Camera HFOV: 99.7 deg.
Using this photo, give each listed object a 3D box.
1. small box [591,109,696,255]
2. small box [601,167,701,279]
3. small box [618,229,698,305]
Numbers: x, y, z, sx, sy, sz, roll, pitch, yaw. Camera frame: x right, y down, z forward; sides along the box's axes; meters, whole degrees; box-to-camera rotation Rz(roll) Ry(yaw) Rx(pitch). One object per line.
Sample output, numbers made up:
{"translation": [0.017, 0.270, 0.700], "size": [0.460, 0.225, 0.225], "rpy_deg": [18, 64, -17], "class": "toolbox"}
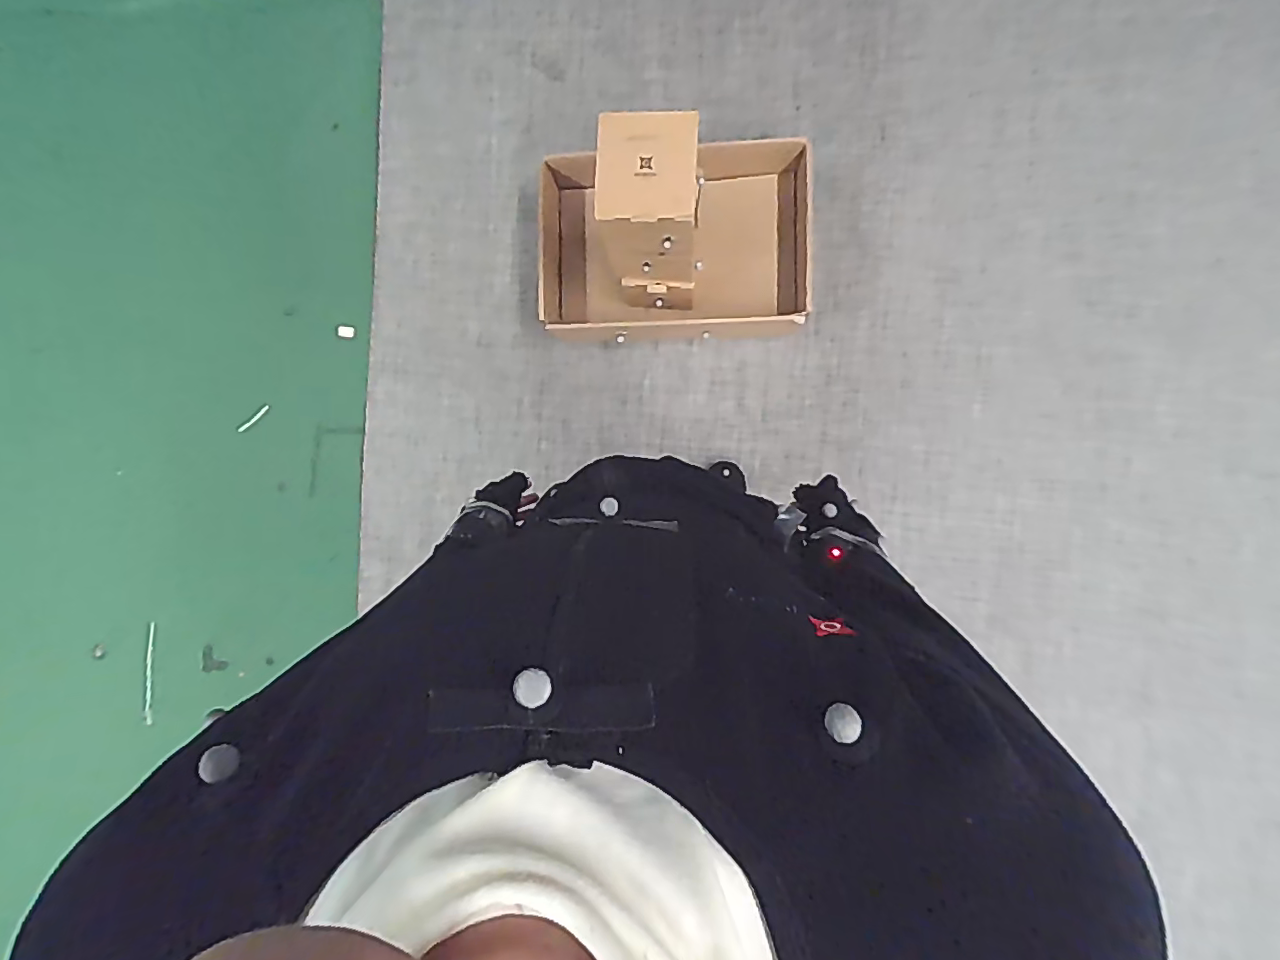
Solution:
{"translation": [0.012, -0.515, 0.958], "size": [0.168, 0.176, 0.179], "rpy_deg": [3, 90, 4], "class": "small box"}
{"translation": [0.029, -0.530, 1.118], "size": [0.179, 0.176, 0.168], "rpy_deg": [9, 92, 6], "class": "small box"}
{"translation": [0.048, -0.525, 1.282], "size": [0.168, 0.176, 0.179], "rpy_deg": [6, 93, 5], "class": "small box"}
